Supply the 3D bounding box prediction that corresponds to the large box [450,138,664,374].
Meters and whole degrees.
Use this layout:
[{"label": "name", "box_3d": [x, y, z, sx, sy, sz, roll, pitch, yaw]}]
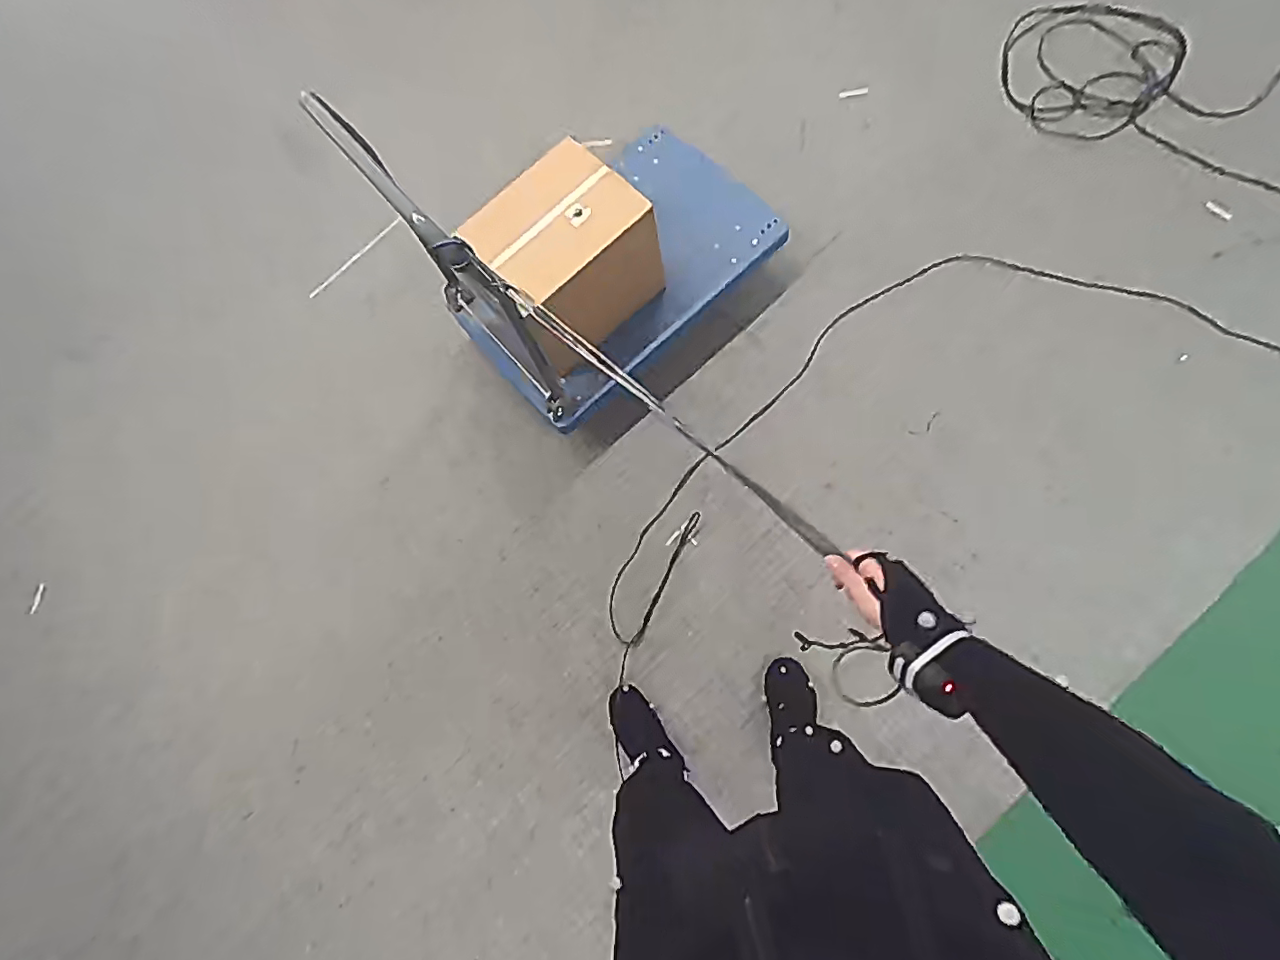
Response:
[{"label": "large box", "box_3d": [-0.193, -0.559, 1.402, 0.408, 0.320, 0.320, -43, 74, -4]}]
